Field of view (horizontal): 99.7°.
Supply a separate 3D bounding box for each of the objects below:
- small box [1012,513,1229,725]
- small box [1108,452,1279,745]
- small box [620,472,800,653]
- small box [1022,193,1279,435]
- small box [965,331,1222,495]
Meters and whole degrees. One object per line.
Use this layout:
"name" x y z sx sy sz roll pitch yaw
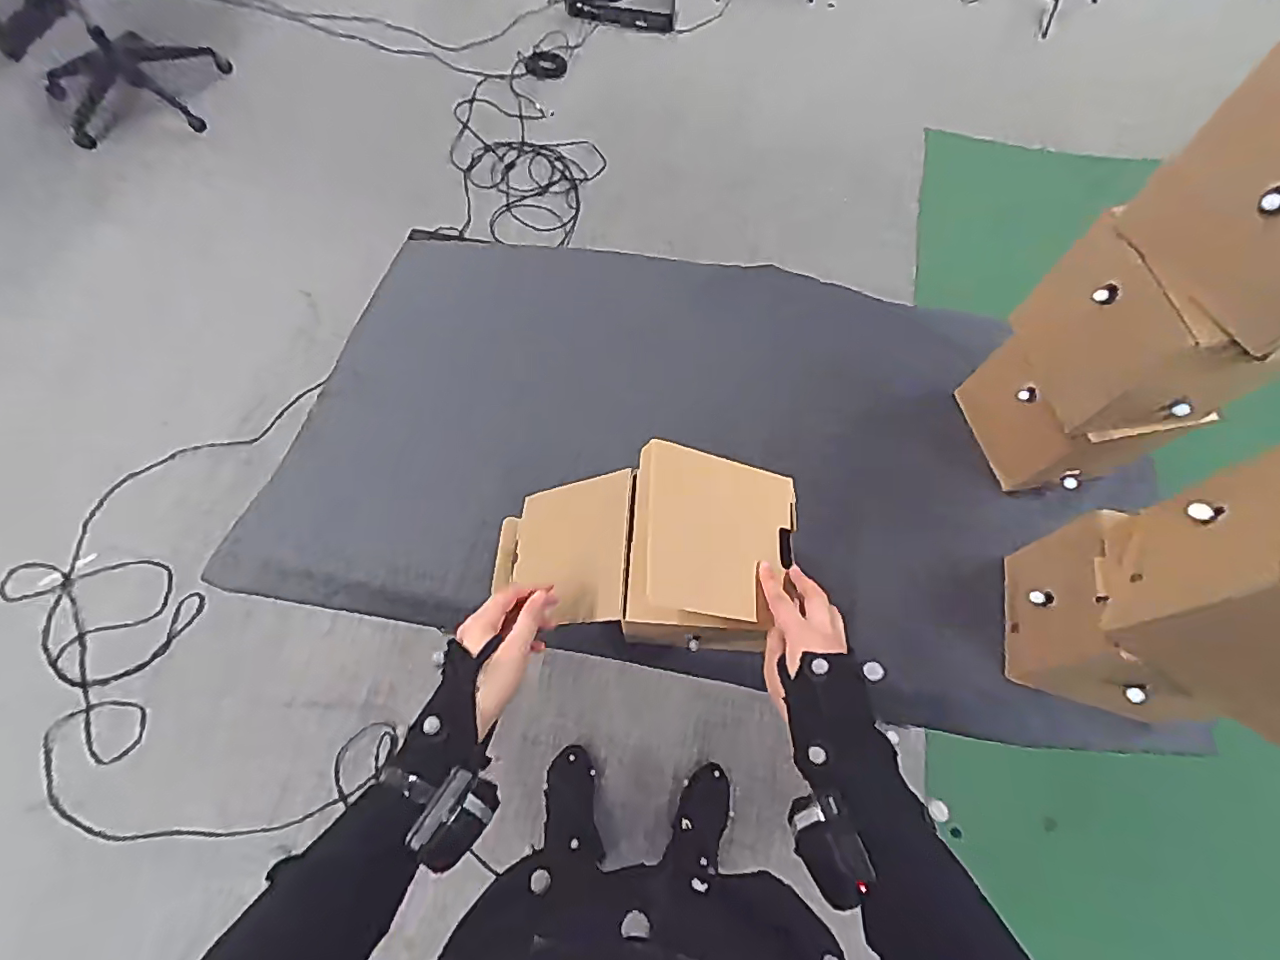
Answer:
"small box" 0.551 0.163 0.605 0.179 0.176 0.168 16 63 7
"small box" 0.557 0.104 0.452 0.179 0.176 0.168 36 67 14
"small box" 0.075 0.102 0.623 0.179 0.176 0.168 3 66 3
"small box" 0.561 -0.168 0.578 0.168 0.176 0.179 -7 66 -1
"small box" 0.582 -0.099 0.728 0.168 0.176 0.179 -10 68 -3
